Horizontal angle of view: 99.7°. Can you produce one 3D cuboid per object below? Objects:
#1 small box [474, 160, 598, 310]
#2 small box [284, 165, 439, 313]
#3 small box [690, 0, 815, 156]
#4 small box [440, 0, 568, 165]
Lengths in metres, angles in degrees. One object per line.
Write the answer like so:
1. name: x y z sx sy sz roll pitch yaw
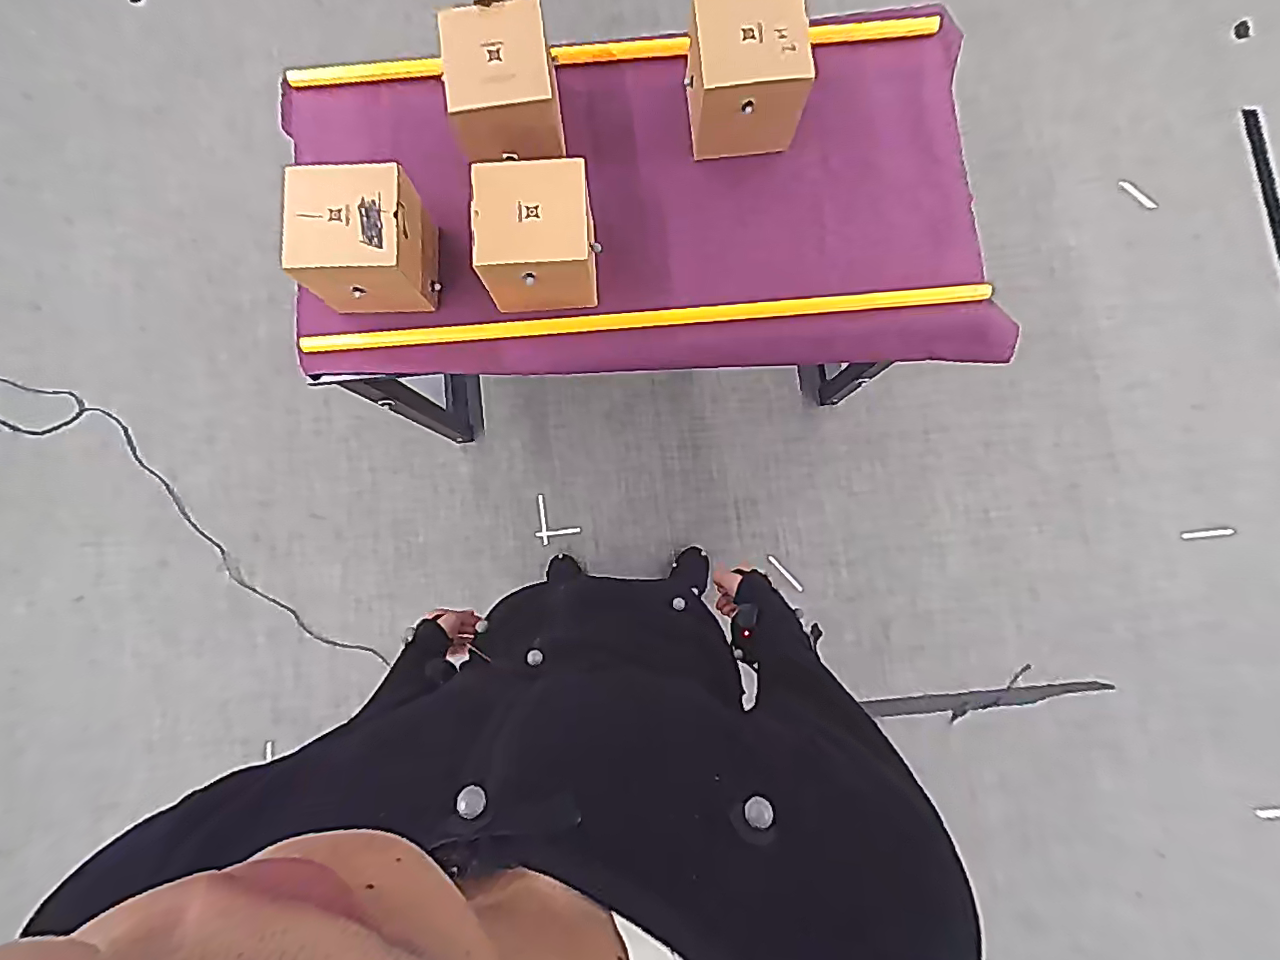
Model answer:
1. small box: -0.161 -0.393 0.891 0.179 0.176 0.168 -3 84 1
2. small box: -0.444 -0.387 0.891 0.179 0.176 0.168 -1 84 0
3. small box: 0.178 -0.680 0.914 0.179 0.176 0.168 -5 86 0
4. small box: -0.222 -0.655 0.918 0.168 0.176 0.179 -8 85 1
